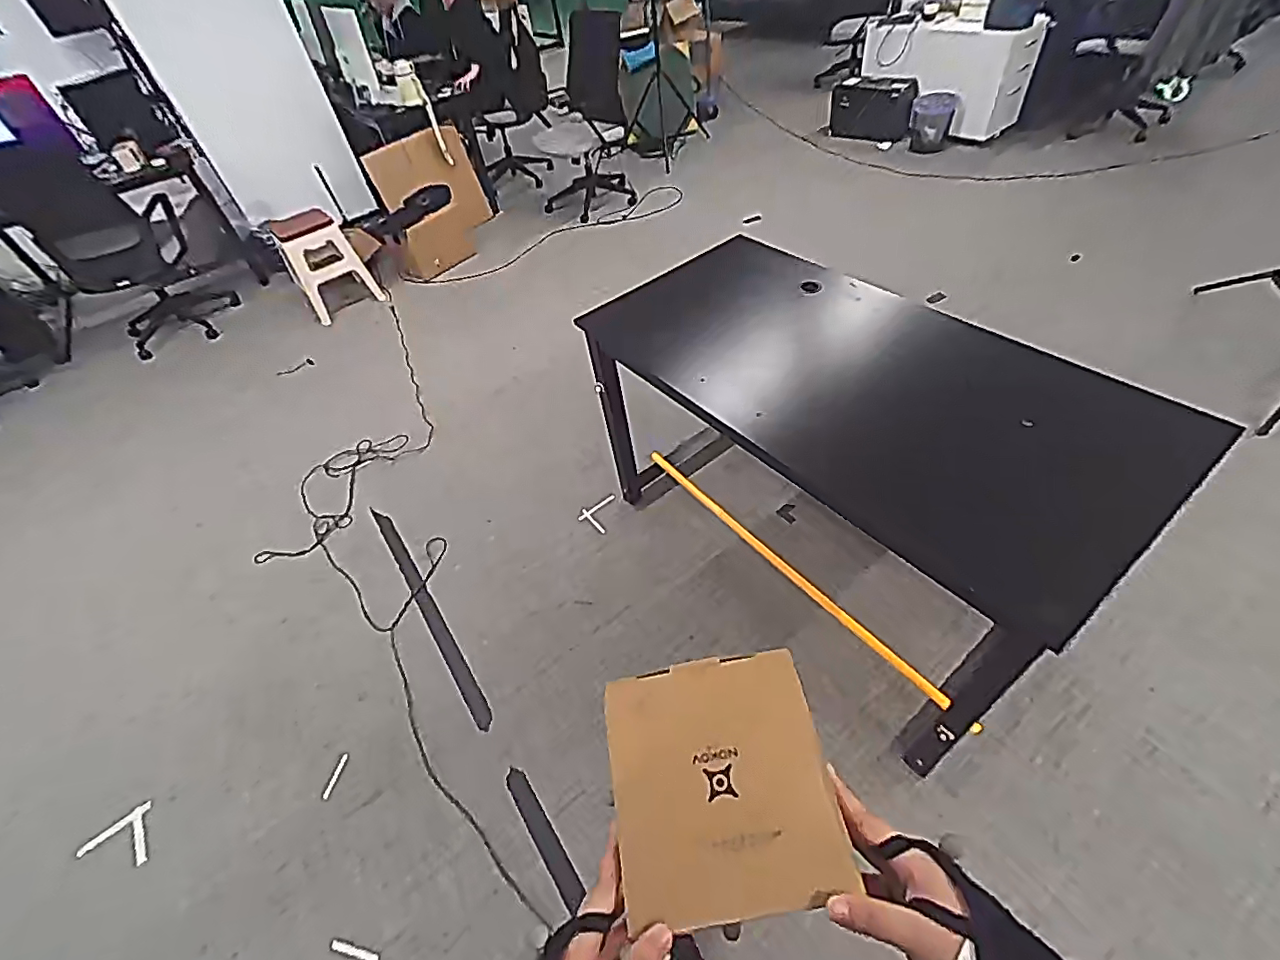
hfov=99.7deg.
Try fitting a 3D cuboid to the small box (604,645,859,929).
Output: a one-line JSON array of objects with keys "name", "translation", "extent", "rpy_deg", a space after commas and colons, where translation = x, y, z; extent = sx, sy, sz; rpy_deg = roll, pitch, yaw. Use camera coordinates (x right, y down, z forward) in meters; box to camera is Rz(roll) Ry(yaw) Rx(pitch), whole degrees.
[{"name": "small box", "translation": [0.067, 0.270, 0.481], "extent": [0.168, 0.176, 0.179], "rpy_deg": [-11, 54, 1]}]
